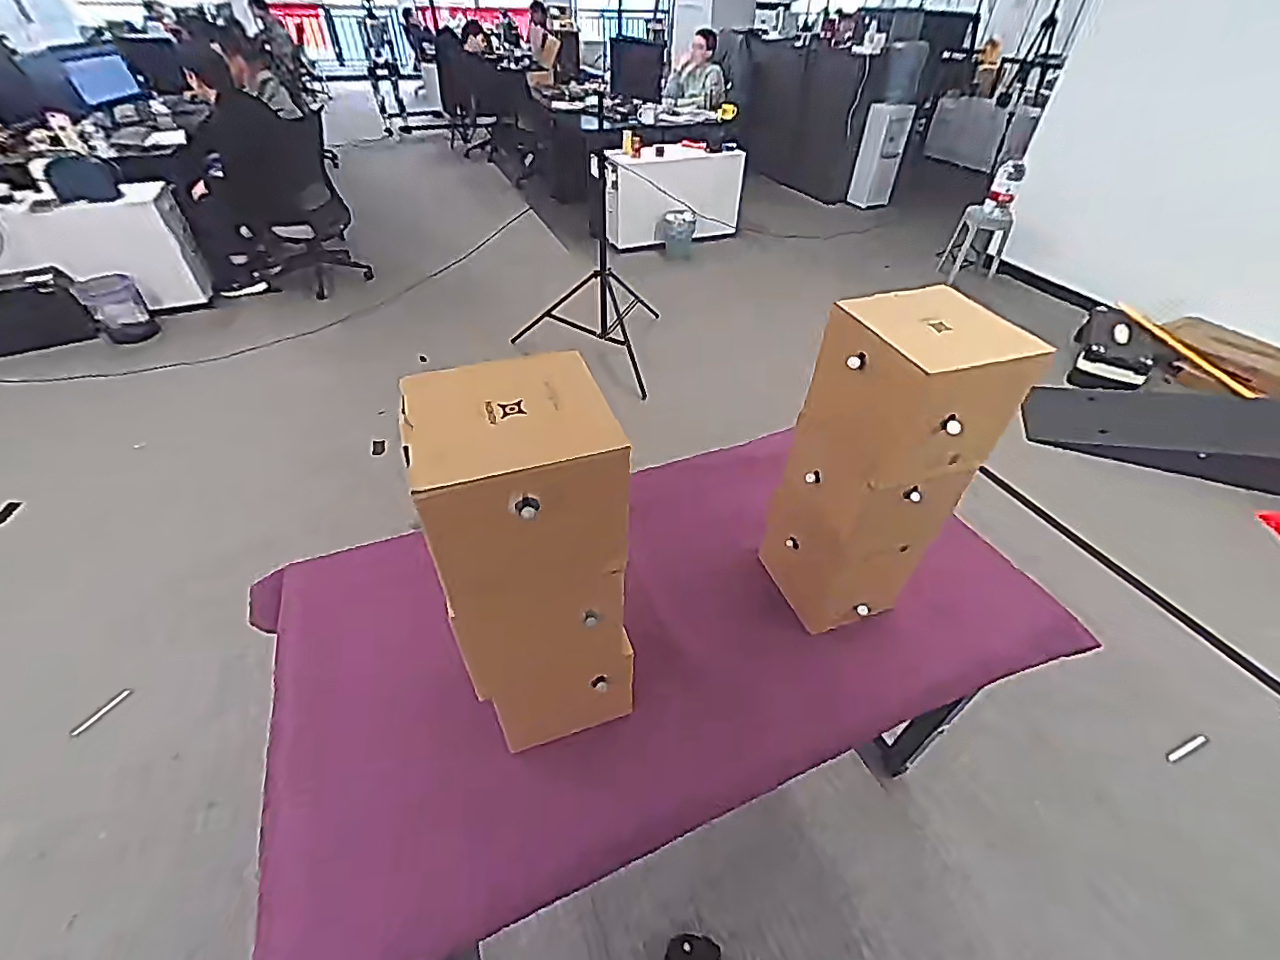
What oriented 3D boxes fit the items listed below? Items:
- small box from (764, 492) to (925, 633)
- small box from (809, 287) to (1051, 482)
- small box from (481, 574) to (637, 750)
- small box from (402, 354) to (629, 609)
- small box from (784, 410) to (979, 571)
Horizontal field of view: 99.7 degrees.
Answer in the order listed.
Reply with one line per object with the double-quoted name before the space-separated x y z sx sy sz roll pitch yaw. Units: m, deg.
"small box" 0.326 0.120 0.896 0.168 0.176 0.179 -14 45 -15
"small box" 0.335 -0.114 0.667 0.168 0.176 0.179 -12 44 -13
"small box" -0.113 0.241 0.752 0.179 0.176 0.168 -13 44 -15
"small box" -0.117 0.001 0.531 0.179 0.176 0.168 -13 45 -17
"small box" 0.329 0.002 0.782 0.168 0.176 0.179 -12 43 -13
